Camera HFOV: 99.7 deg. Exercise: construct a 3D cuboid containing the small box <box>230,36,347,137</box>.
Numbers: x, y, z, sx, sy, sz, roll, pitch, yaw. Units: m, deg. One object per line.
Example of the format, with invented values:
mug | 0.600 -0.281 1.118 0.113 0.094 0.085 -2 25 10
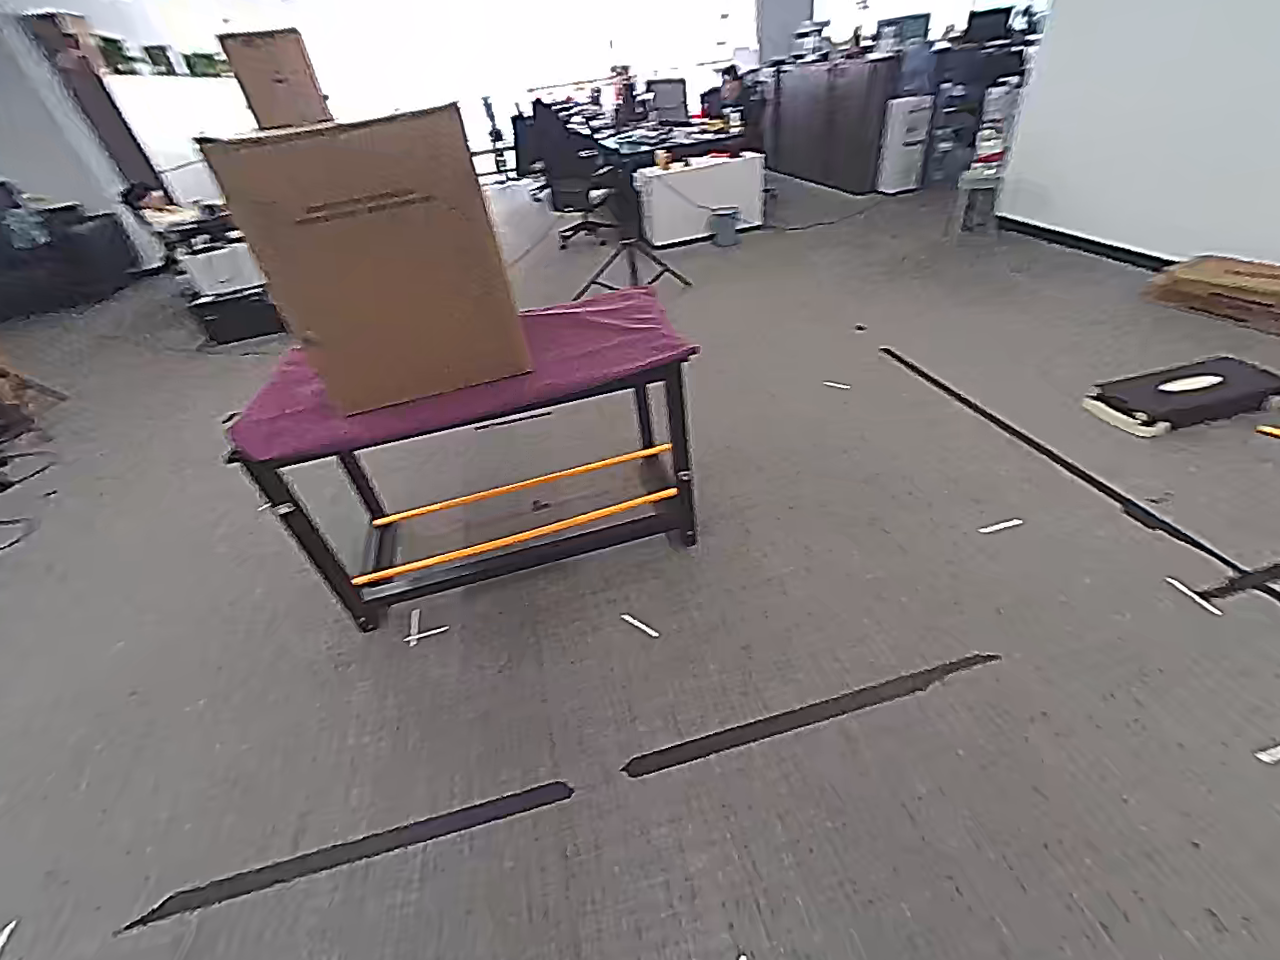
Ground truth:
small box | -0.797 -0.902 1.239 0.168 0.176 0.179 -17 39 -13
